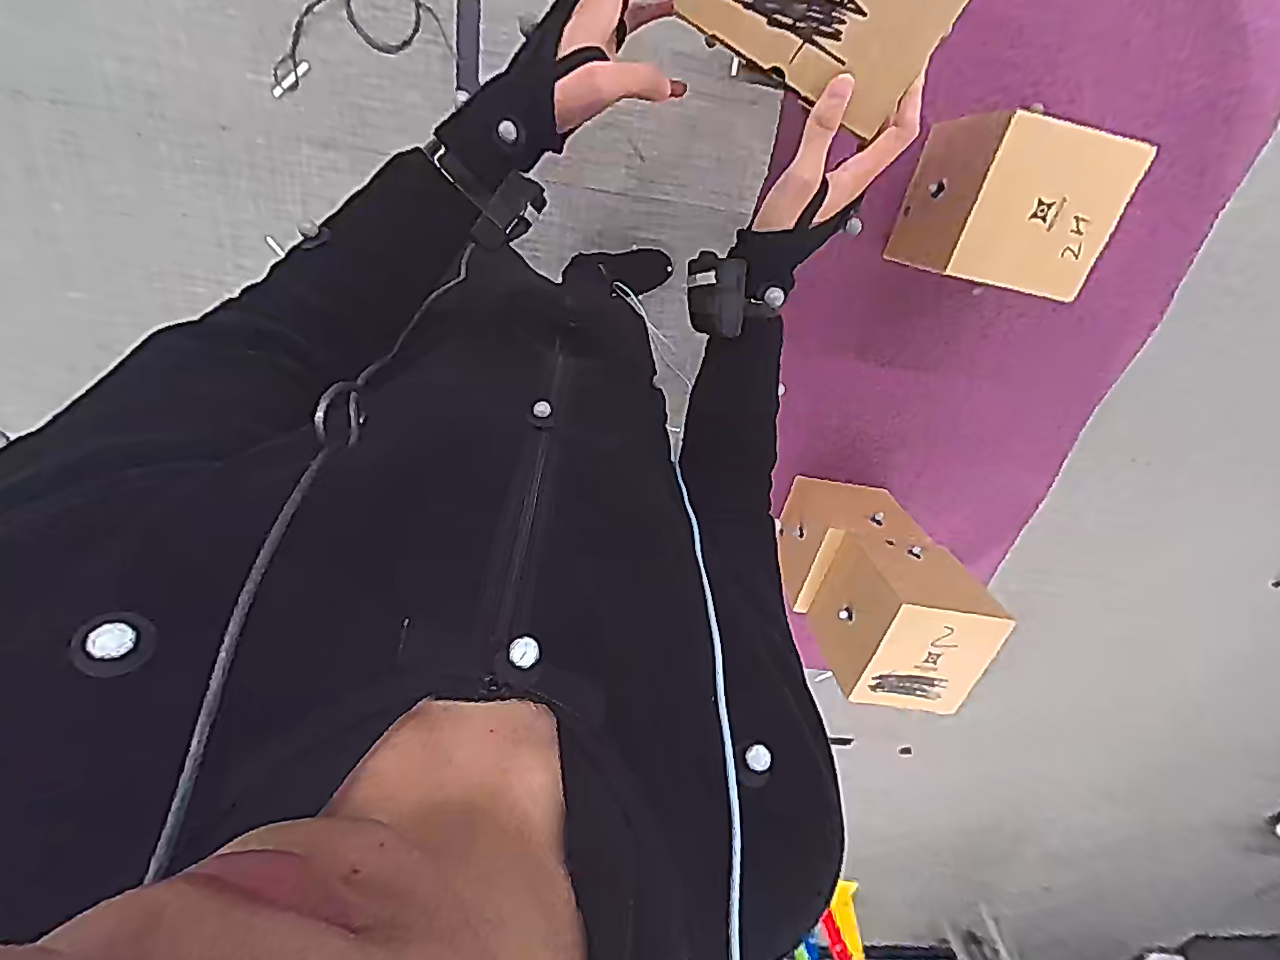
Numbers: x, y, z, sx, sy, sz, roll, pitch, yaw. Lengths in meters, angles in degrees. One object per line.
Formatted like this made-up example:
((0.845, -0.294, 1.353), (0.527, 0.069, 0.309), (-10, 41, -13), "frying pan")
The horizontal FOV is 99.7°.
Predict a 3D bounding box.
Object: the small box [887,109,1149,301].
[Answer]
((0.448, -0.339, 0.679), (0.179, 0.176, 0.168), (9, 118, -9), "small box")

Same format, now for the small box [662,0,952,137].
((0.134, -0.385, 0.376), (0.168, 0.176, 0.179), (24, 131, -12), "small box")

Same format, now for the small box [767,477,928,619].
((0.335, 0.110, 0.919), (0.179, 0.176, 0.168), (9, 117, -9), "small box")
